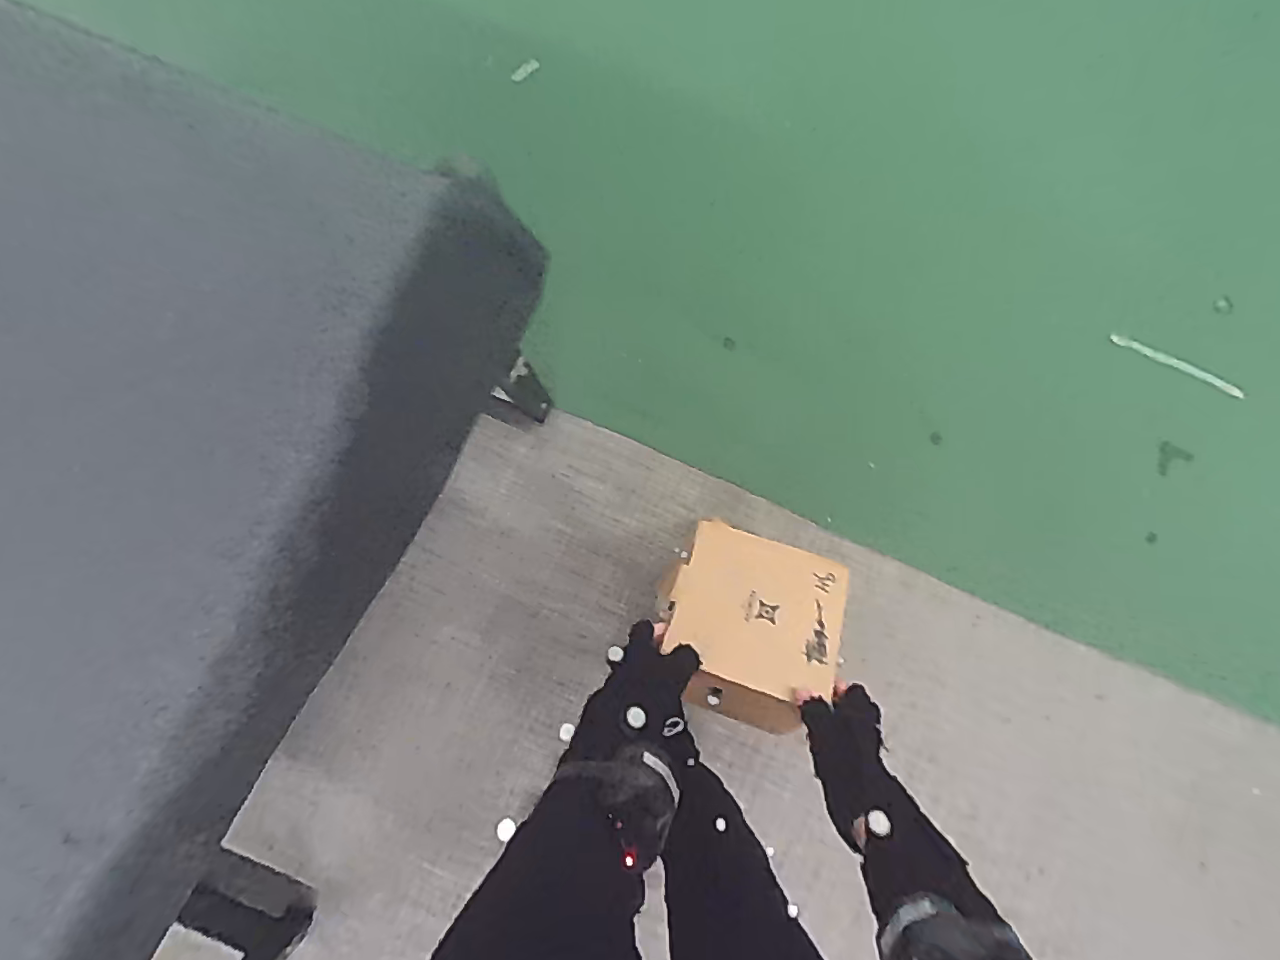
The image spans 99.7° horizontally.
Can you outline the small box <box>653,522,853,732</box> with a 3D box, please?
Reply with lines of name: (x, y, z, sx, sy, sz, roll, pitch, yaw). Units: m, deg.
small box: (0.121, 0.178, 0.632, 0.179, 0.176, 0.168, 18, 61, 8)
